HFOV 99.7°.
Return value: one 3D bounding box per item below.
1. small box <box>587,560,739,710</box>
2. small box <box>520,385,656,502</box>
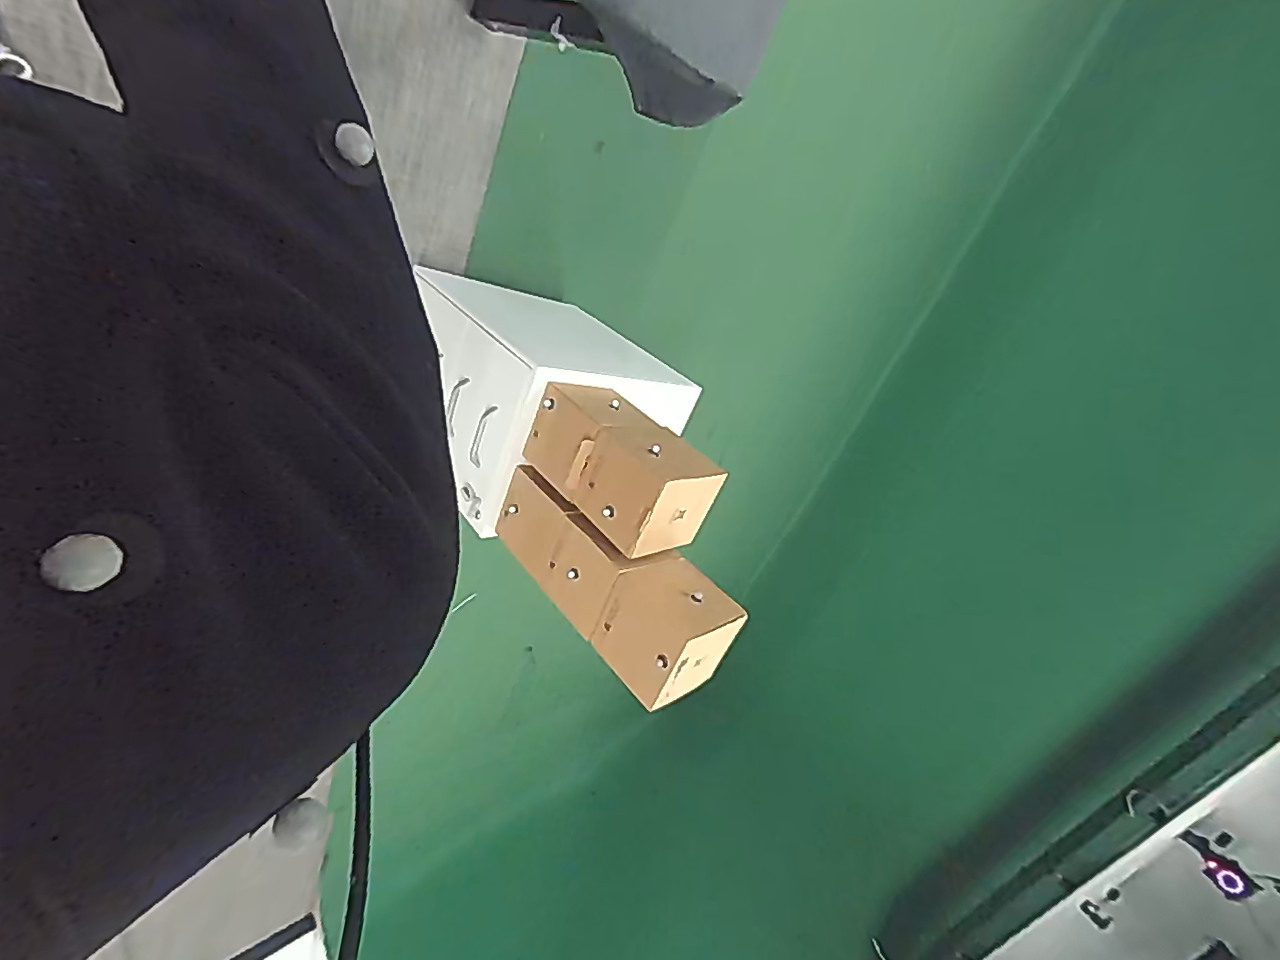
[{"bbox_3d":[0.038,0.263,0.964,0.179,0.176,0.168,-7,127,-49],"label":"small box"},{"bbox_3d":[-0.107,-0.075,1.060,0.179,0.176,0.168,-5,128,-50],"label":"small box"}]
